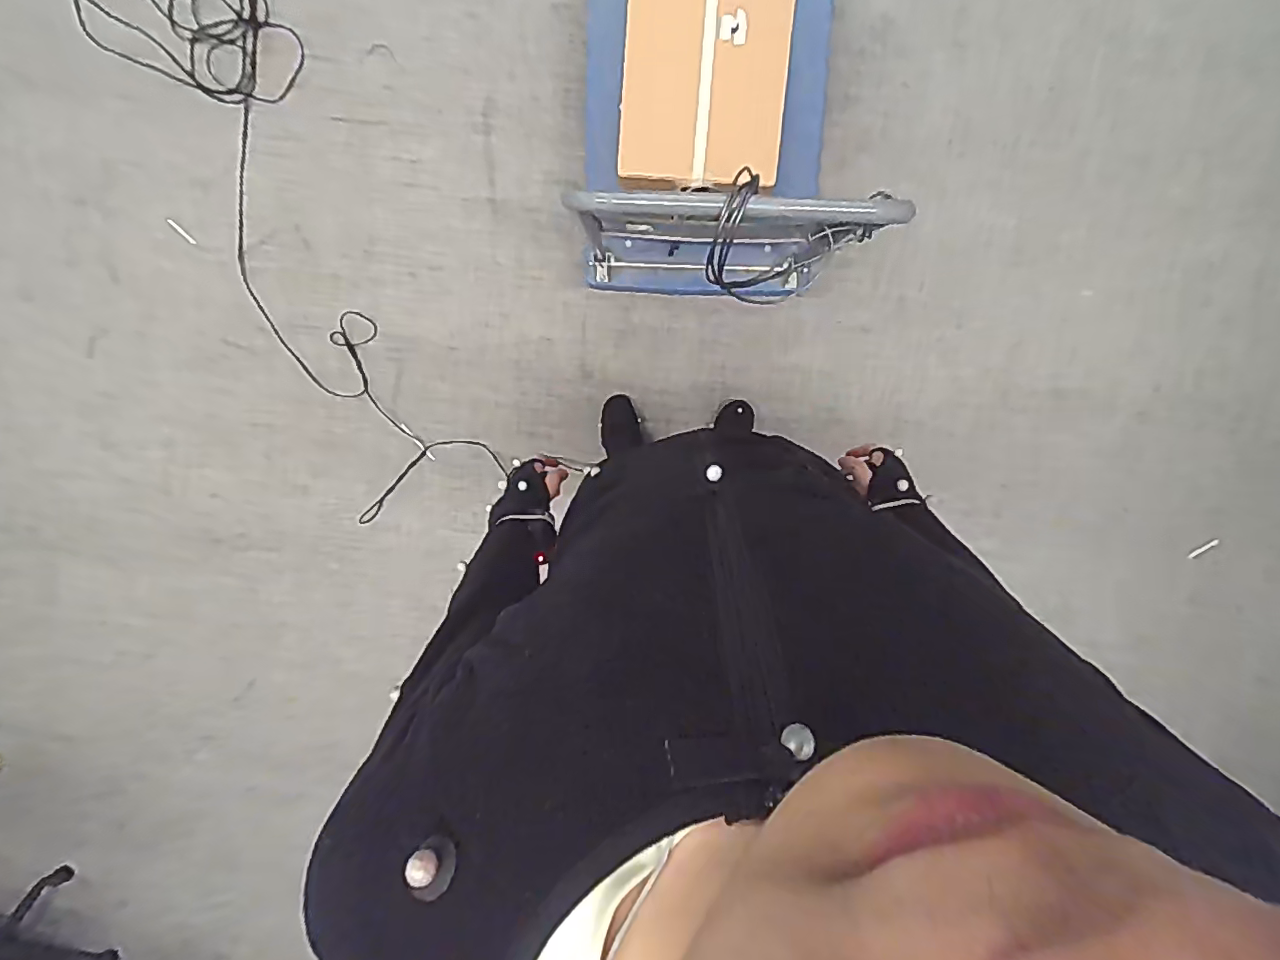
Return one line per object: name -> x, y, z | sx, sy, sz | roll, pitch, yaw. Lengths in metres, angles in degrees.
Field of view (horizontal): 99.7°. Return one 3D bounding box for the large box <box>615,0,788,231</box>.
large box -> 0.122, -0.801, 1.179 | 0.320, 0.320, 0.408 | 4, 99, 0
